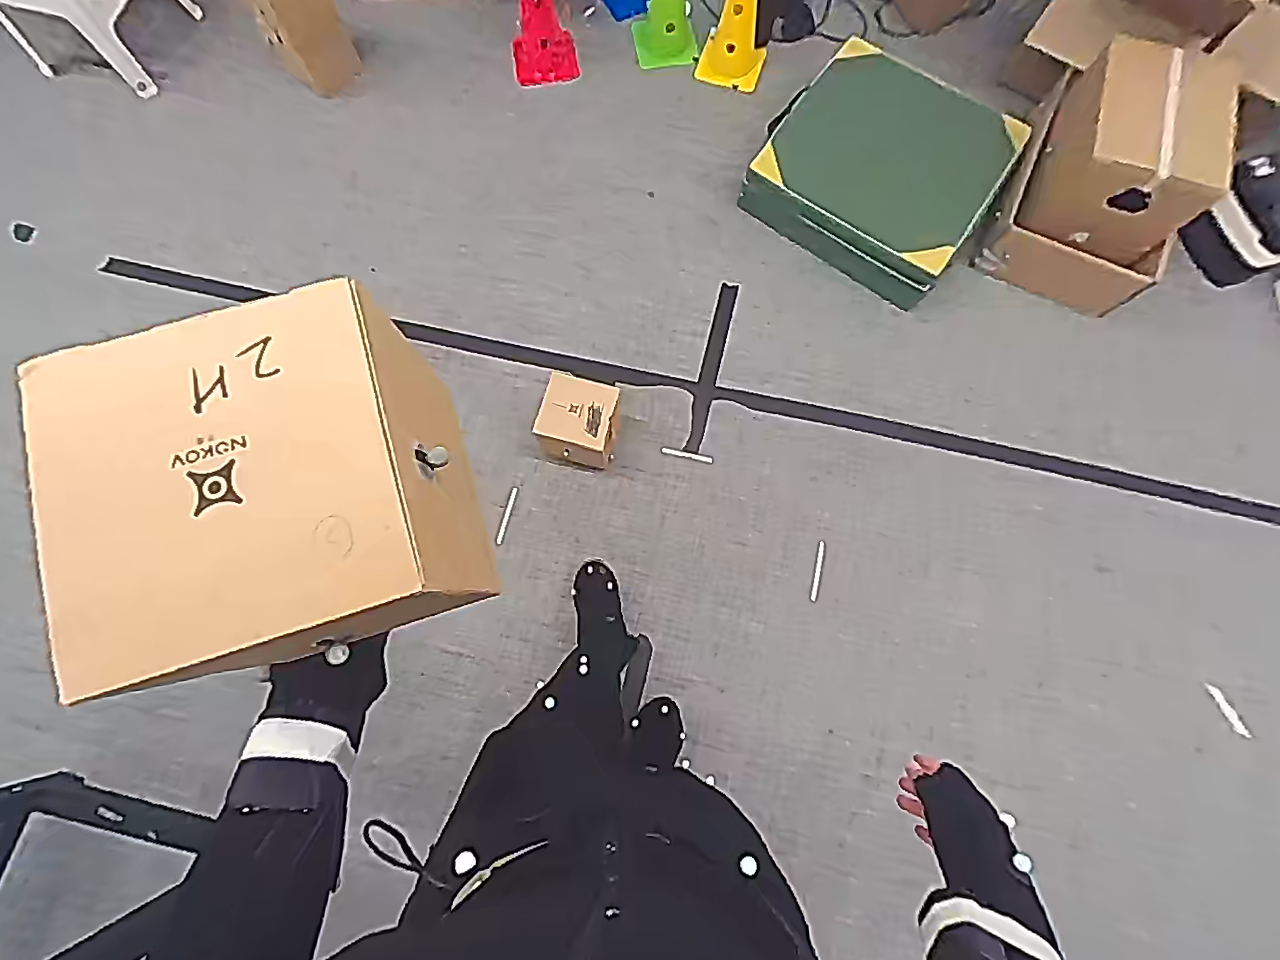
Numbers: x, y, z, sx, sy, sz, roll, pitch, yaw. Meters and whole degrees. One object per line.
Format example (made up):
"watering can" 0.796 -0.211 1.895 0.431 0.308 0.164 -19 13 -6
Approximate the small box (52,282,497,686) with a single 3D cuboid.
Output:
"small box" -0.205 0.010 0.351 0.168 0.176 0.179 -16 79 -5

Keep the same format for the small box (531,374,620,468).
"small box" -0.154 -0.142 1.371 0.179 0.176 0.168 16 76 4
